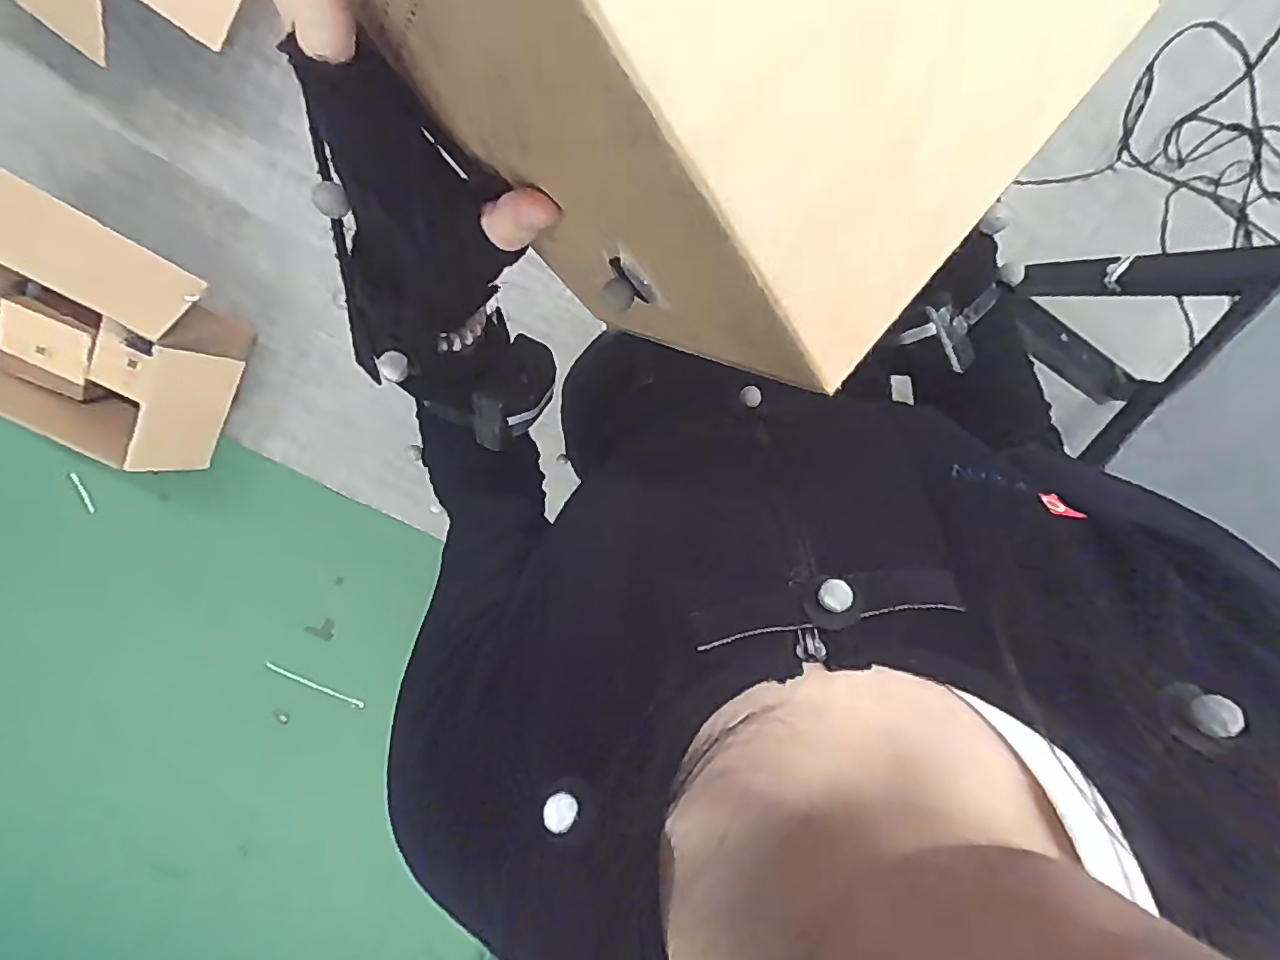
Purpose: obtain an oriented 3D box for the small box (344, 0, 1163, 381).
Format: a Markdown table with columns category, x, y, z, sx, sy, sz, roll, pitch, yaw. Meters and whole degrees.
| category | x | y | z | sx | sy | sz | roll | pitch | yaw |
| --- | --- | --- | --- | --- | --- | --- | --- | --- | --- |
| small box | 0.024 | -0.164 | 0.185 | 0.168 | 0.179 | 0.176 | -50 | 126 | -2 |
